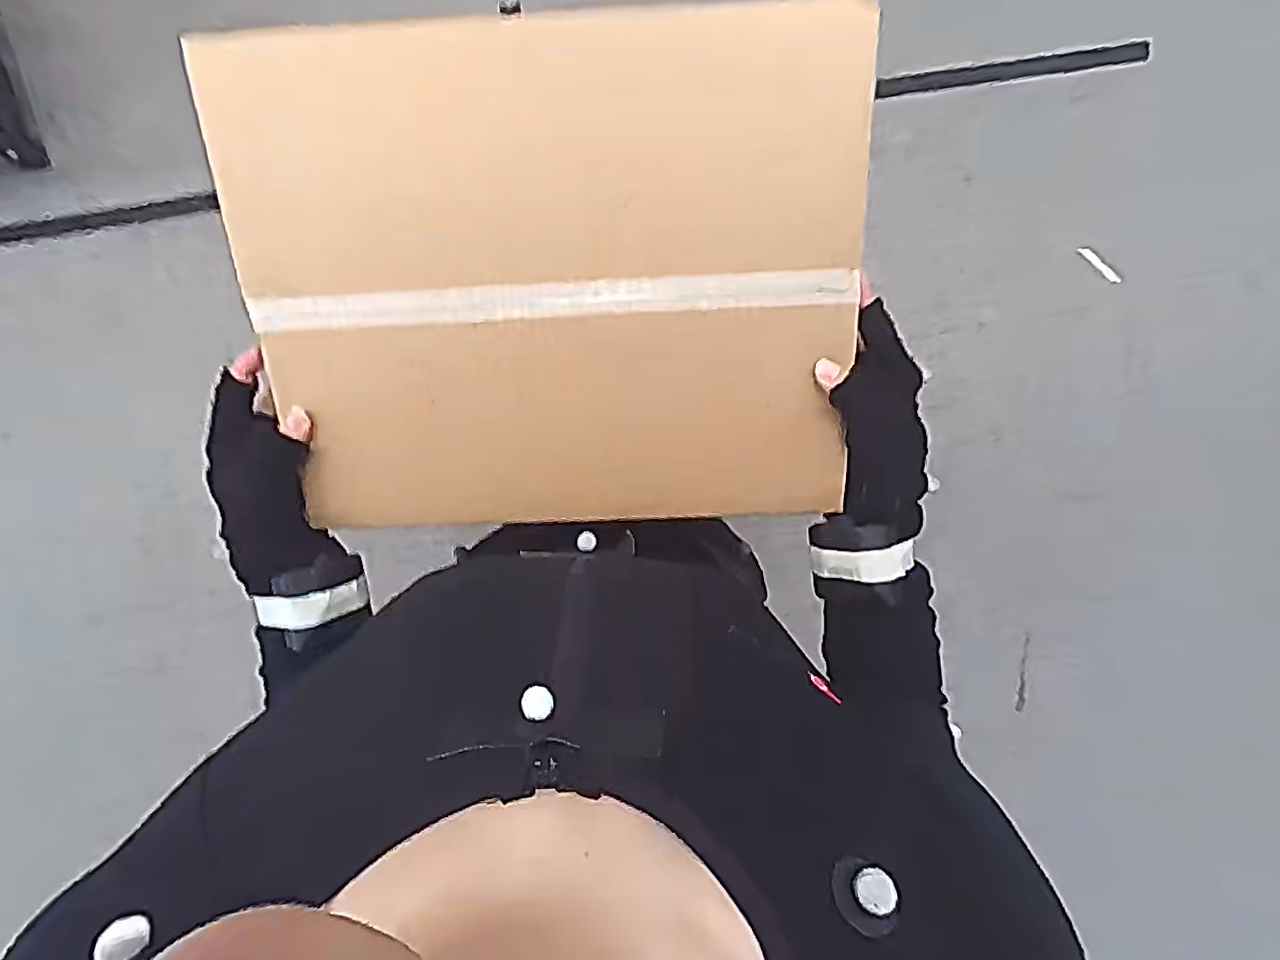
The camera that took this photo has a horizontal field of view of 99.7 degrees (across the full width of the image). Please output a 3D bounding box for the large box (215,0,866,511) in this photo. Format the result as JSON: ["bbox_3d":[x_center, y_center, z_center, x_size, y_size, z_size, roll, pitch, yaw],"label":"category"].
[{"bbox_3d":[-0.056,-0.174,0.509,0.408,0.320,0.320,-2,109,2],"label":"large box"}]
